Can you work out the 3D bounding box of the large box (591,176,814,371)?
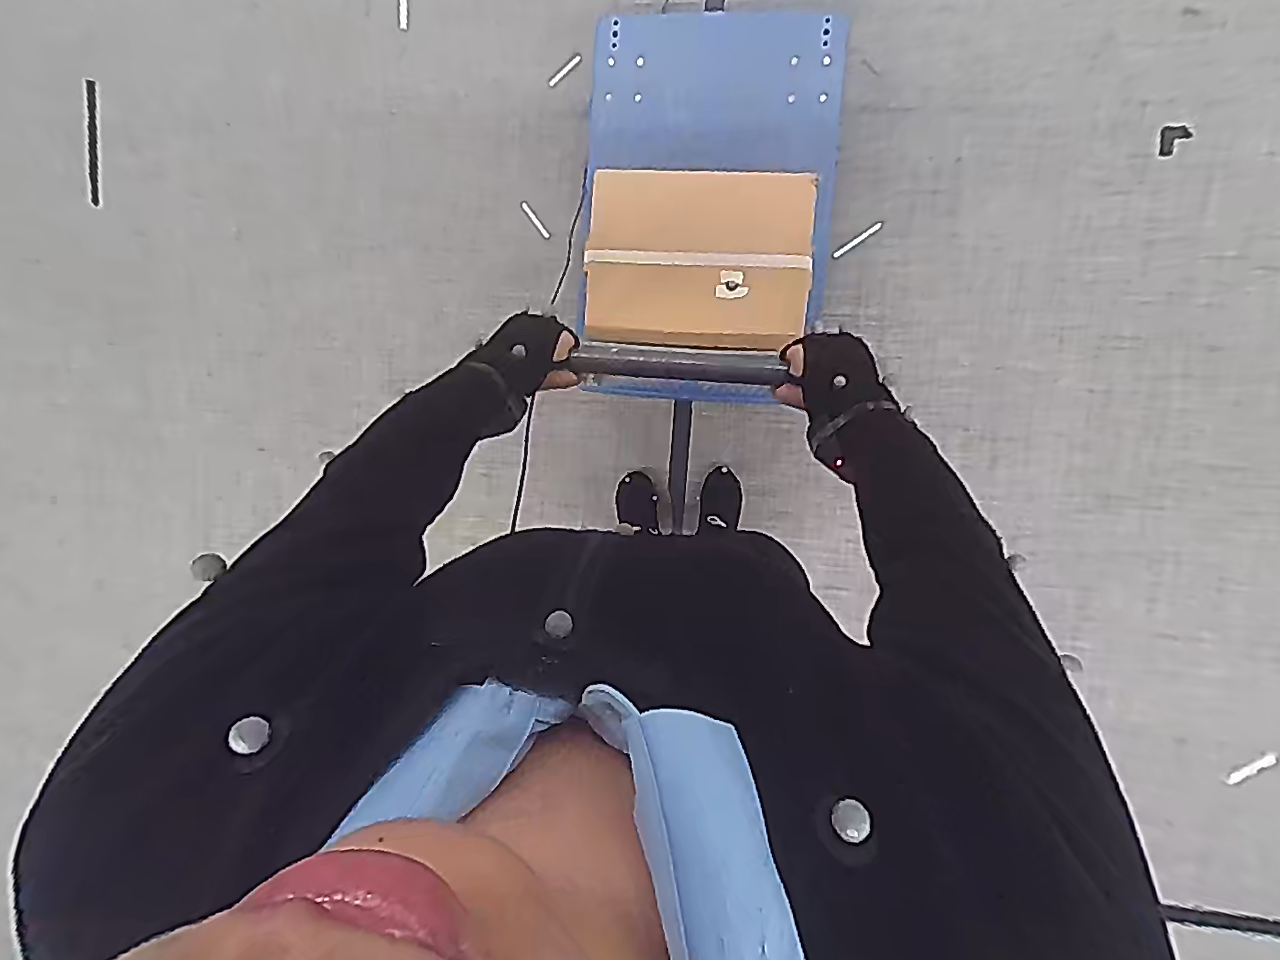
[{"bbox_3d":[0.122,-0.414,1.151,0.408,0.320,0.320,4,95,5],"label":"large box"}]
